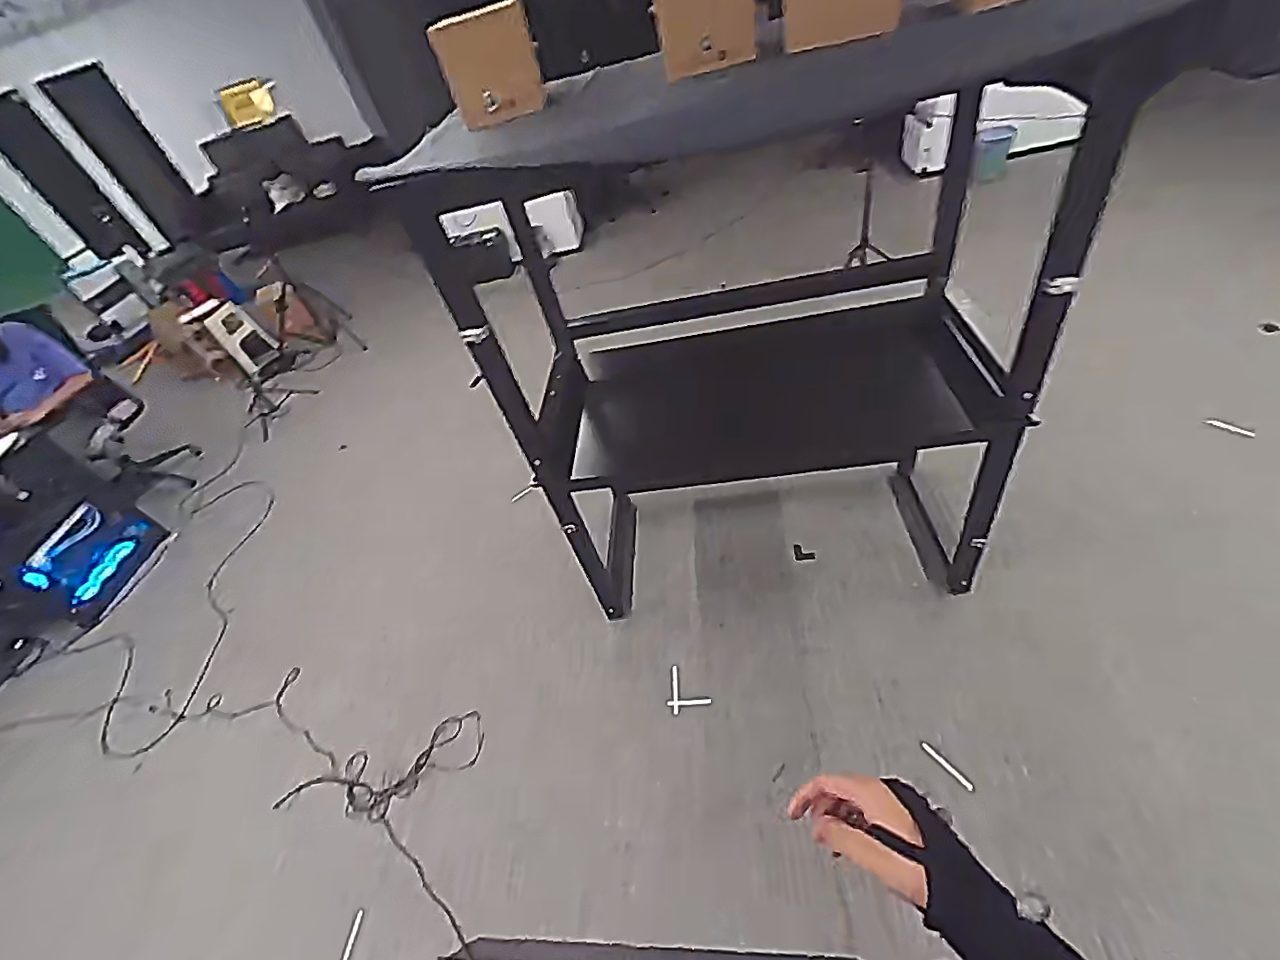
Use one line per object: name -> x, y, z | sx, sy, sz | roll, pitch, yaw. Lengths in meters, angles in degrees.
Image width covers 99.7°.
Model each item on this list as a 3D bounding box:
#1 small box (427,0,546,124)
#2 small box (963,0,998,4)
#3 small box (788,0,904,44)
small box -> -0.292, -0.834, 1.073 | 0.168, 0.176, 0.179 | -14, 44, 5
small box -> 0.575, -0.831, 0.794 | 0.168, 0.176, 0.179 | -3, 46, 15
small box -> 0.338, -0.840, 0.878 | 0.179, 0.176, 0.168 | 6, 48, 22
